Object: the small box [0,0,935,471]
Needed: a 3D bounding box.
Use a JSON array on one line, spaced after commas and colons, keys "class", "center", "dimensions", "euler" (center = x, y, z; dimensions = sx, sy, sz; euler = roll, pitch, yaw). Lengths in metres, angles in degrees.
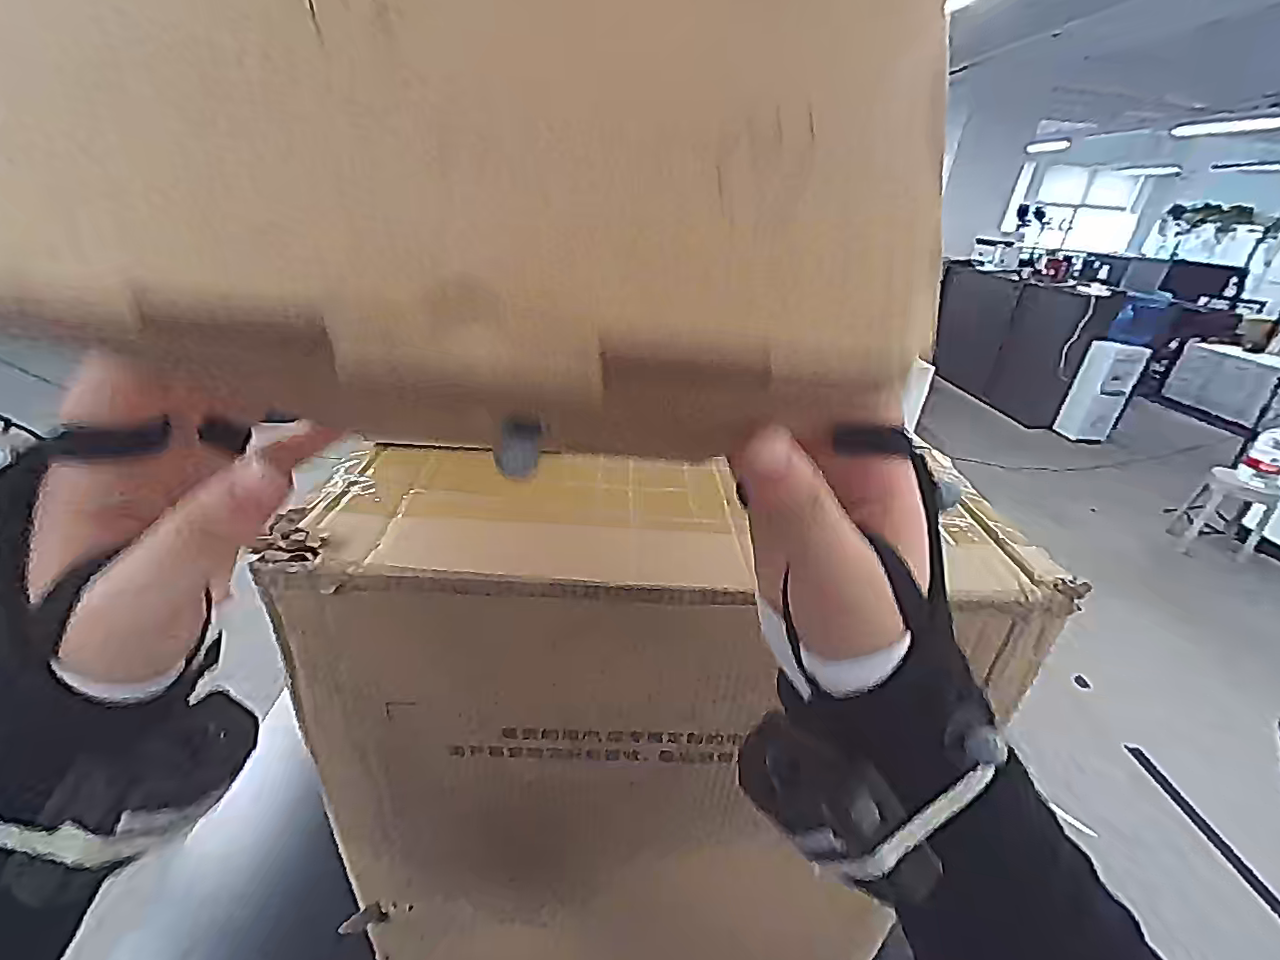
[{"class": "small box", "center": [-0.031, -0.095, 0.181], "dimensions": [0.168, 0.179, 0.176], "euler": [3, -2, -7]}]
